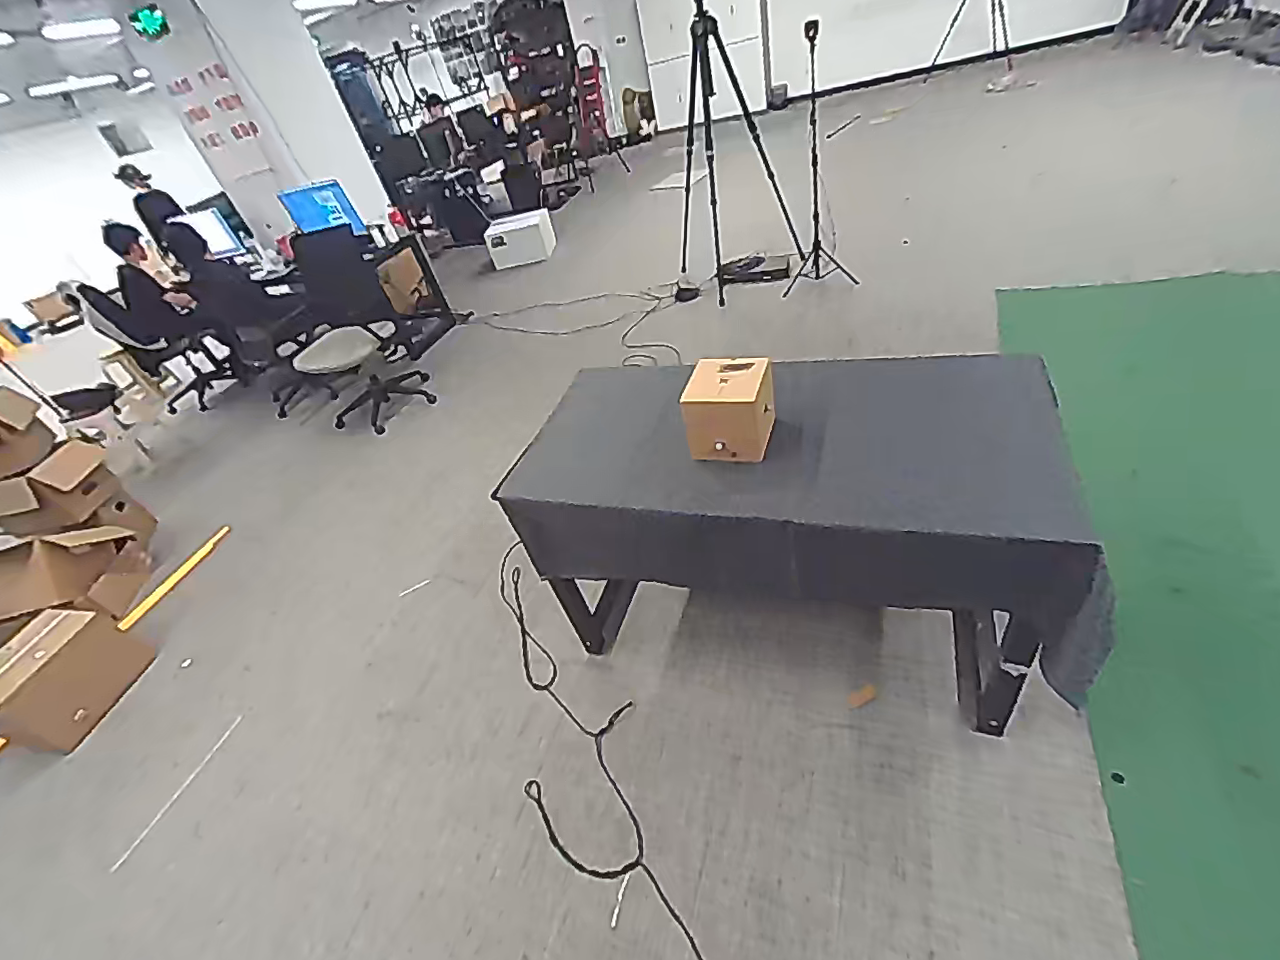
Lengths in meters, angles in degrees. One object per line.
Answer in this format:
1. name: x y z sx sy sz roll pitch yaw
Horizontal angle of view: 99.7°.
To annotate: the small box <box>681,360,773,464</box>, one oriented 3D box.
1. small box: 0.208 -0.158 1.240 0.168 0.176 0.179 4 43 24
